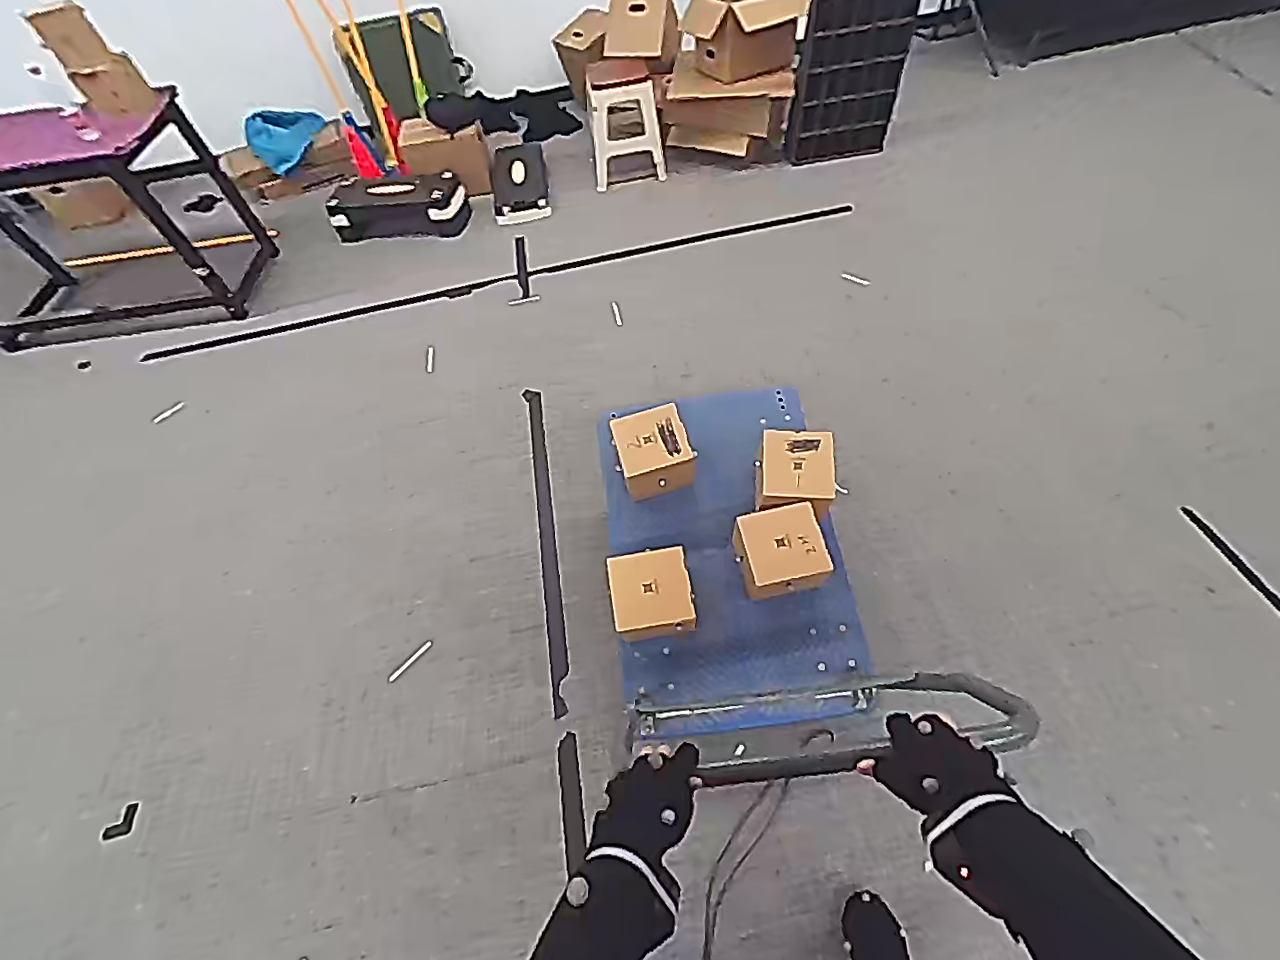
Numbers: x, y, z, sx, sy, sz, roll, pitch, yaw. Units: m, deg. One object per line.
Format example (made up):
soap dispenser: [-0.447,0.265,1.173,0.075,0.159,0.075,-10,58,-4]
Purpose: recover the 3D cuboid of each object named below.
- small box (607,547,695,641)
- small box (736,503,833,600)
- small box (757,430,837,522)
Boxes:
small box: [0.028,0.269,1.257,0.179,0.176,0.168,-10,66,0]
small box: [0.327,0.174,1.269,0.179,0.176,0.168,-12,66,1]
small box: [0.382,-0.005,1.342,0.168,0.176,0.179,3,68,7]
